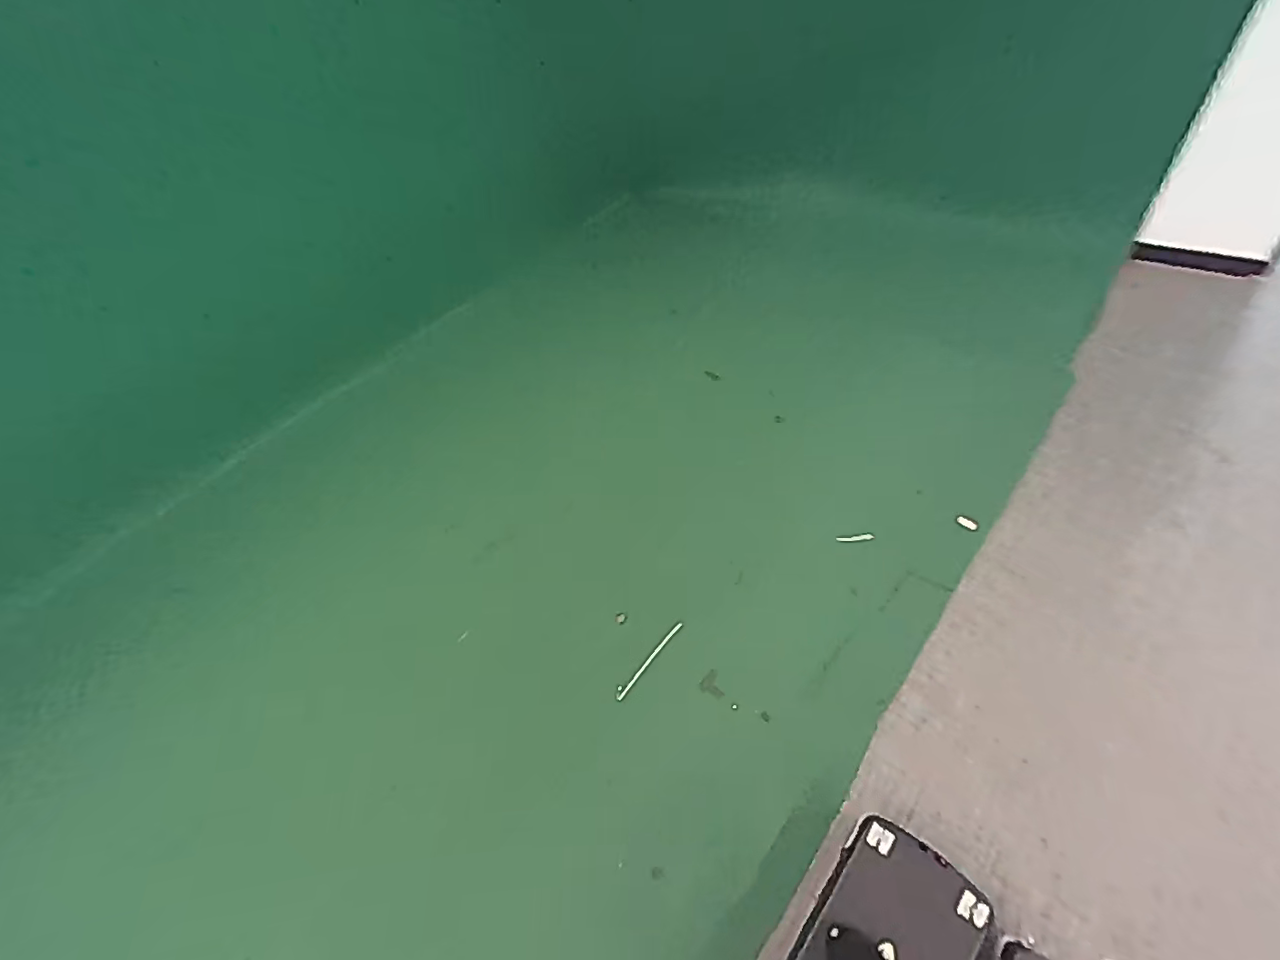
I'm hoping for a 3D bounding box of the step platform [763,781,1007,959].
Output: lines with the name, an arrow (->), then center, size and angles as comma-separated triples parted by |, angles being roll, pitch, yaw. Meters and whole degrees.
step platform -> 0.374, 0.931, 0.972 | 0.286, 0.204, 0.684 | 29, 63, 30
